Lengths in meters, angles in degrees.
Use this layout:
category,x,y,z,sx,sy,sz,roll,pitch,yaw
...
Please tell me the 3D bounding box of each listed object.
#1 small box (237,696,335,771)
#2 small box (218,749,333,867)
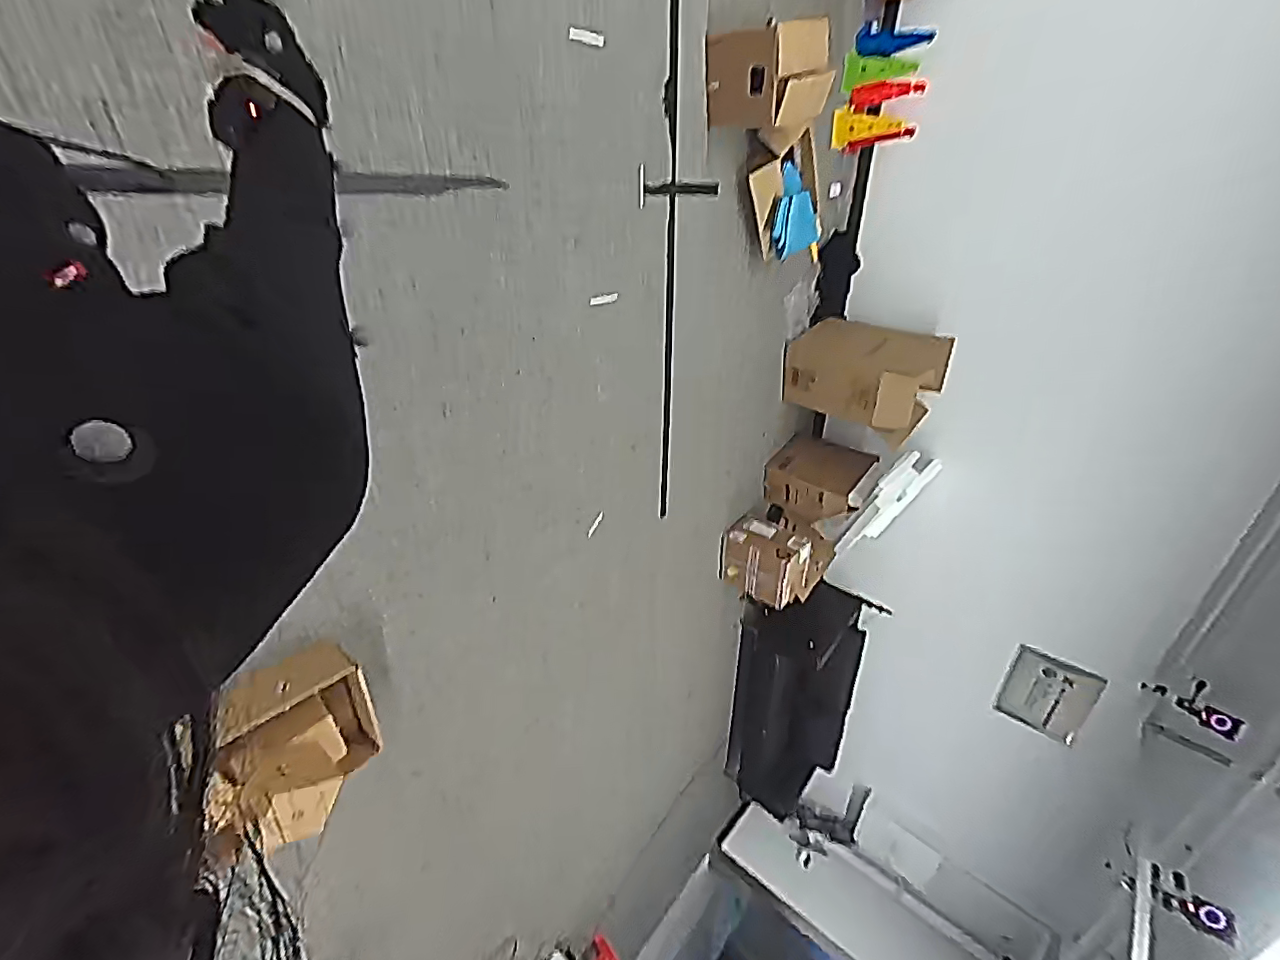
category,x,y,z,sx,sy,sz,roll,pitch,yaw
small box,-1.008,0.759,1.542,0.168,0.176,0.179,-30,131,-41
small box,-0.939,0.829,1.387,0.179,0.176,0.168,19,95,-57
